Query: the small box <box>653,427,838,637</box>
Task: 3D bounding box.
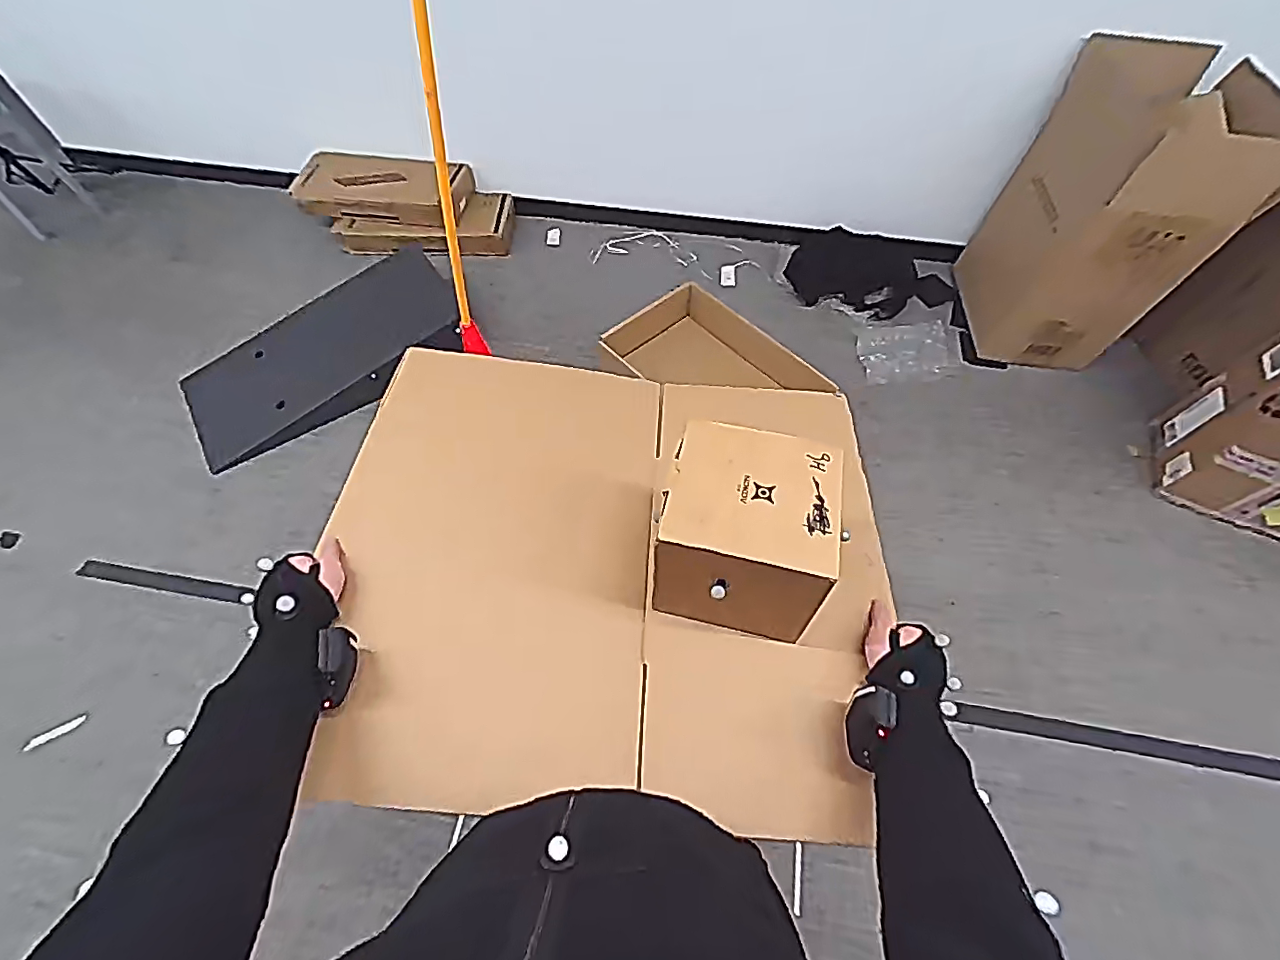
[{"bbox_3d":[0.118,0.065,0.629,0.179,0.176,0.168,11,55,9],"label":"small box"}]
